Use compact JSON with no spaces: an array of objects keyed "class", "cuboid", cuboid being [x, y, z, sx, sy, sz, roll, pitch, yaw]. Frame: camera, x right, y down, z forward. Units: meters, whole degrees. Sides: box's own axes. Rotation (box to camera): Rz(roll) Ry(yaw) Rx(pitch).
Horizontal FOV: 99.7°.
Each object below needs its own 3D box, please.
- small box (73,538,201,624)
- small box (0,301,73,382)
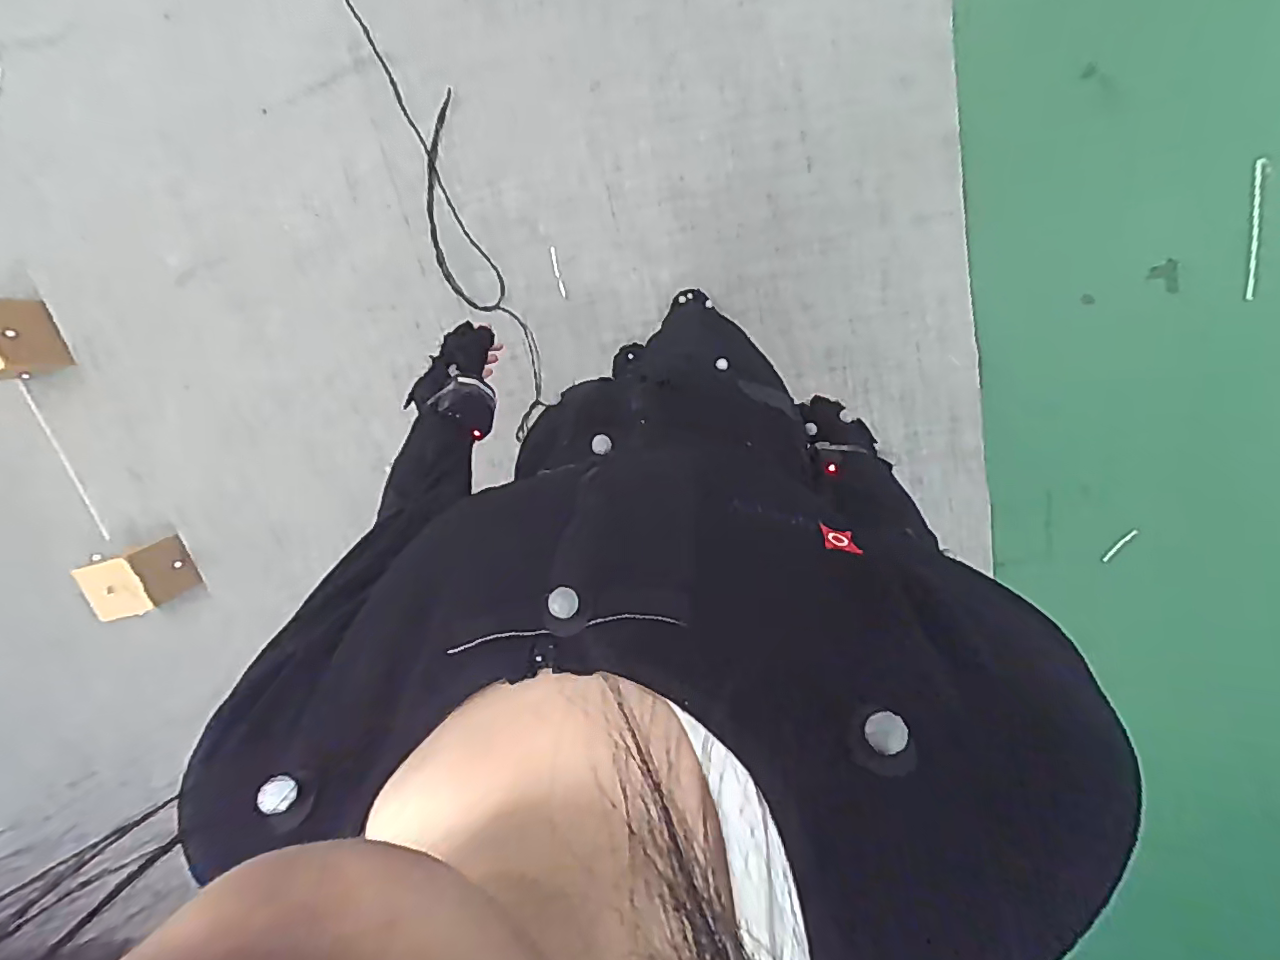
[{"class":"small box","cuboid":[-1.429,0.284,1.550,0.179,0.176,0.168,-14,106,6]},{"class":"small box","cuboid":[-1.625,-0.347,1.365,0.168,0.176,0.179,-14,106,5]}]
